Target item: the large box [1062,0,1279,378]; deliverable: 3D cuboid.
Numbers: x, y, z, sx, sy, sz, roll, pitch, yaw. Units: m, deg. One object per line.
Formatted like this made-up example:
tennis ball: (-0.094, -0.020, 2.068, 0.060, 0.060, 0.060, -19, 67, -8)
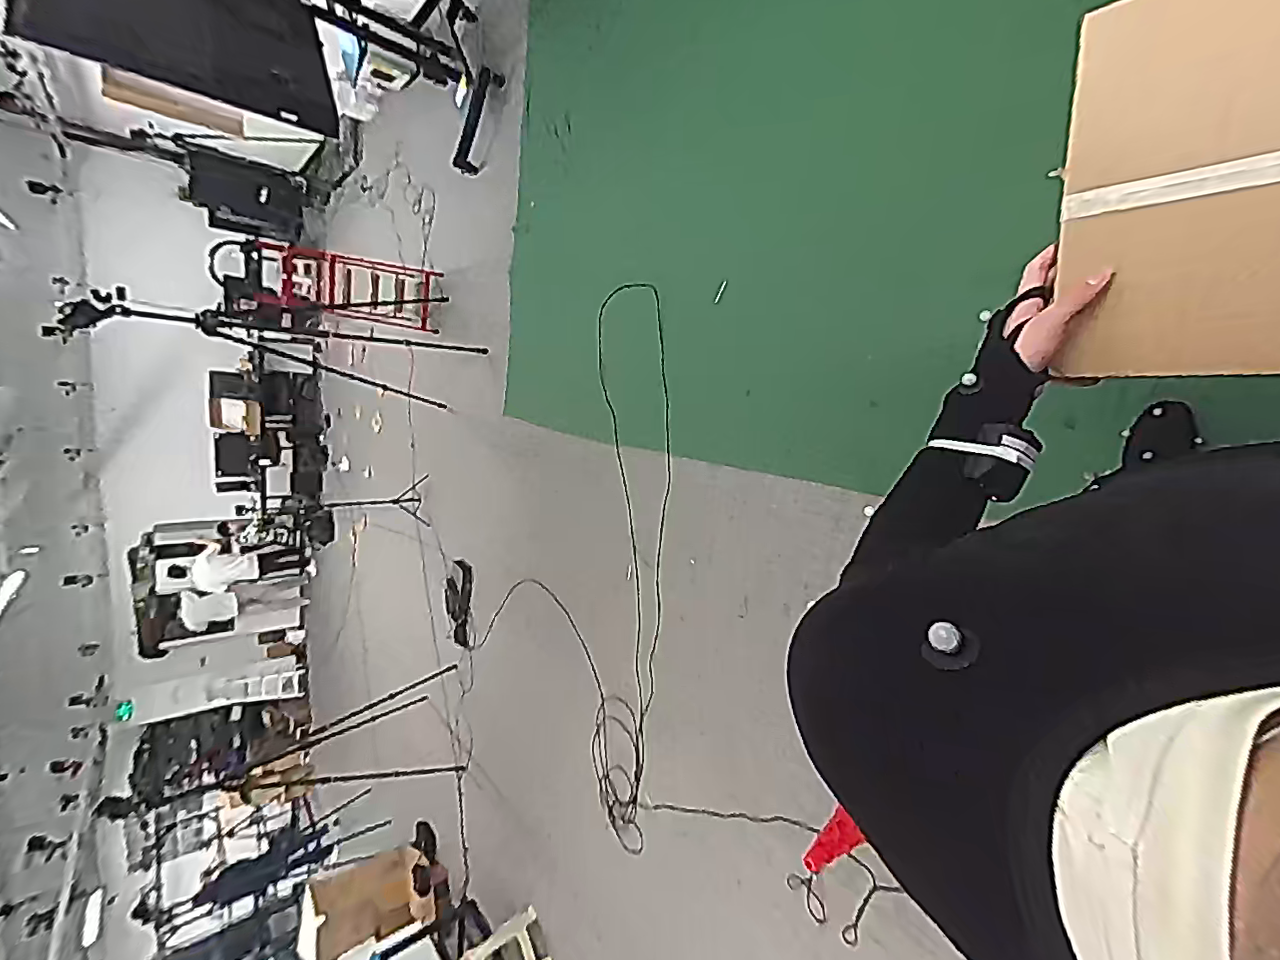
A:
large box: (0.652, -0.259, 0.469, 0.408, 0.320, 0.320, 8, 106, 45)
